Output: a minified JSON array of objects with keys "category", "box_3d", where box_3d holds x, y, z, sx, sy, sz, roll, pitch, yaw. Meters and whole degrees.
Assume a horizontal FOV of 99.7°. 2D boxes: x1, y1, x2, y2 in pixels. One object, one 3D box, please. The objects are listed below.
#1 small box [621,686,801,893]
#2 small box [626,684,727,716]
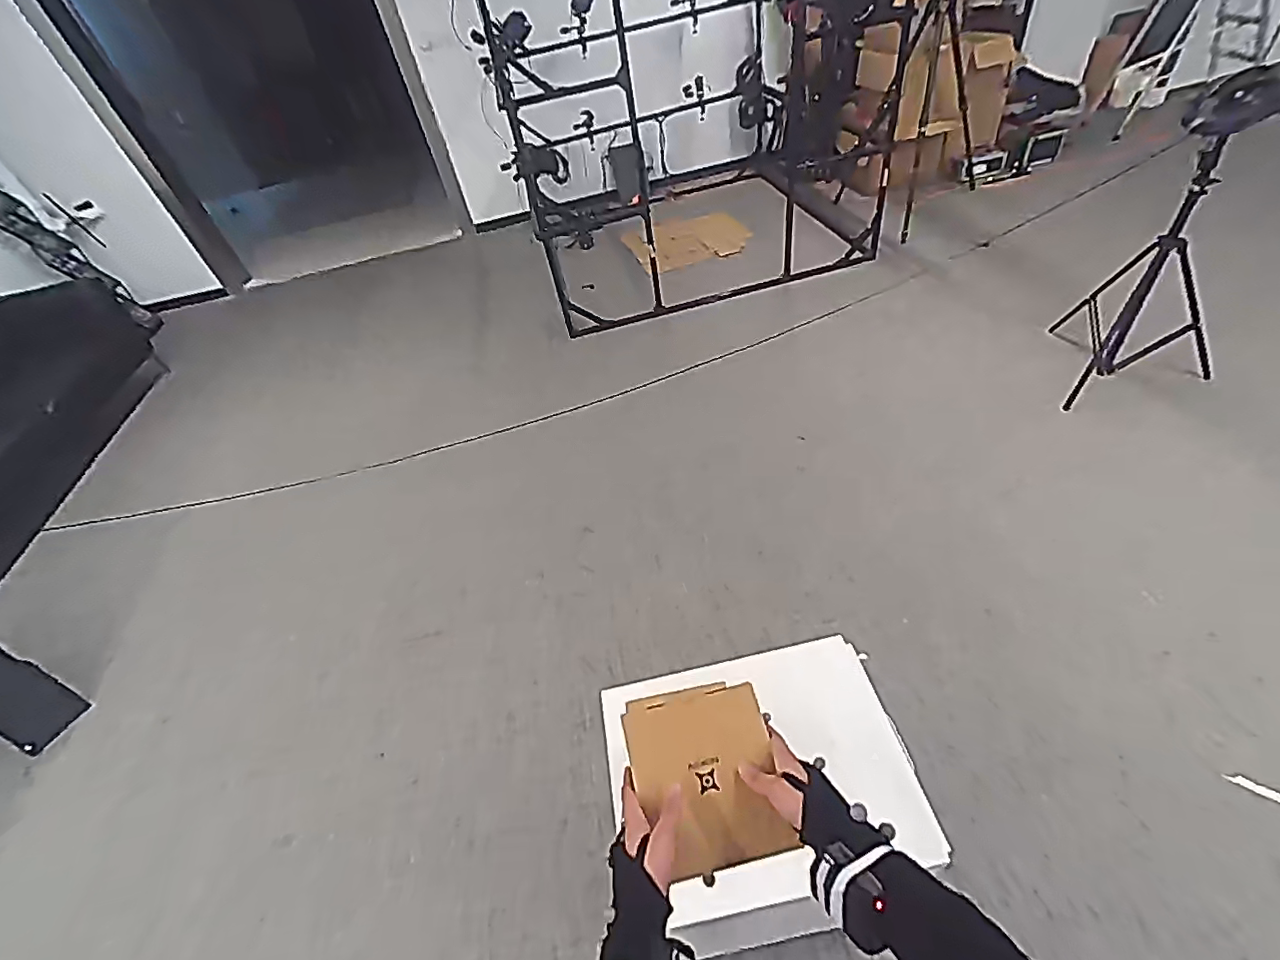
[{"category":"small box","box_3d":[0.080,0.380,0.671,0.168,0.176,0.179,-13,55,-4]},{"category":"small box","box_3d":[0.084,0.473,0.910,0.179,0.176,0.168,-12,44,0]}]
